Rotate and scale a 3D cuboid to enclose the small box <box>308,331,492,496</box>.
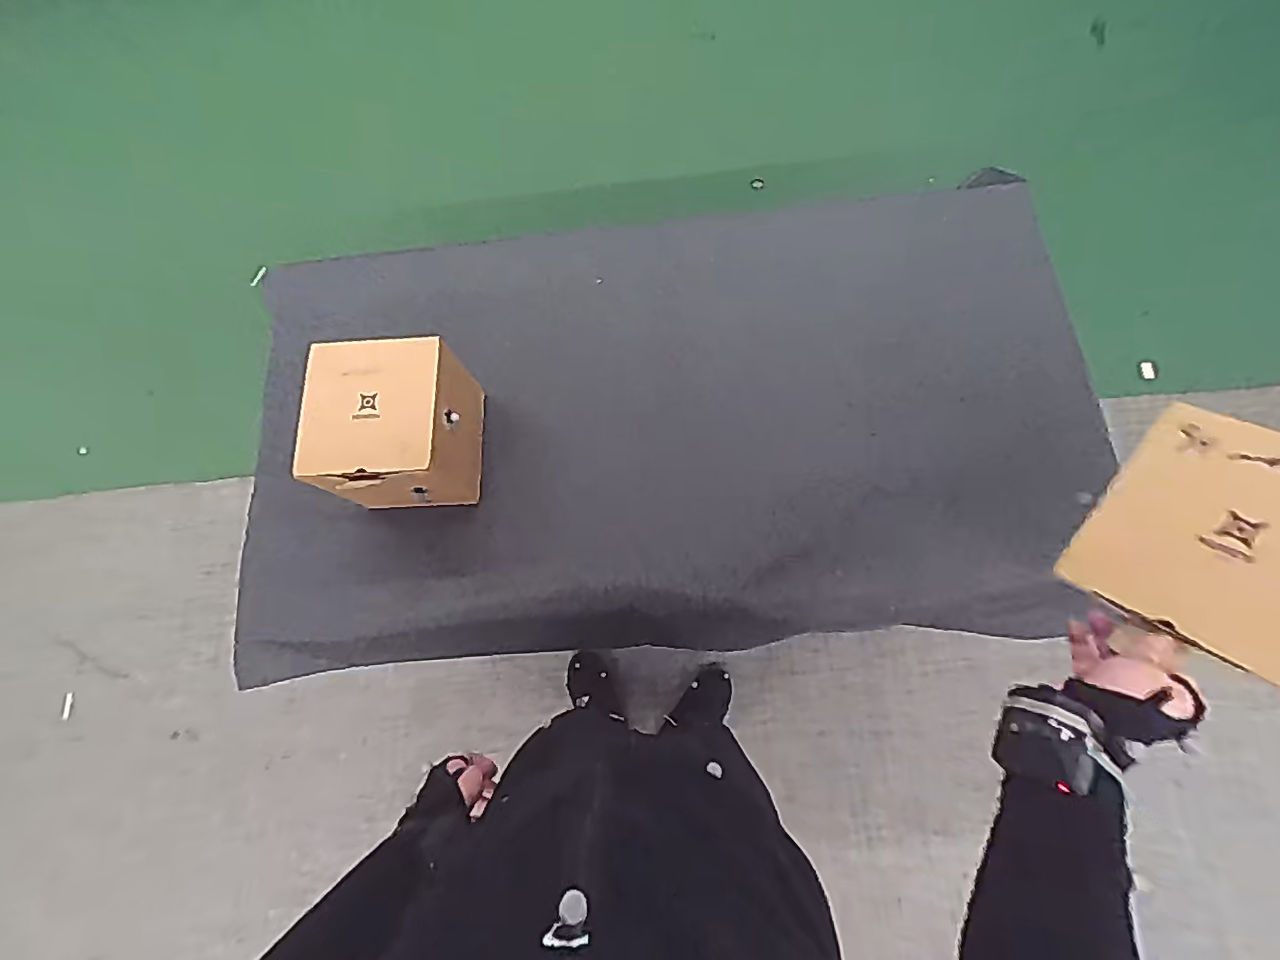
[{"bbox_3d":[-0.307,-0.078,0.730,0.168,0.176,0.179,-2,74,2],"label":"small box"}]

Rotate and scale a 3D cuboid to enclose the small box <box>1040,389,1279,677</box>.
[{"bbox_3d":[0.504,0.045,0.493,0.168,0.176,0.179,34,103,34],"label":"small box"}]
